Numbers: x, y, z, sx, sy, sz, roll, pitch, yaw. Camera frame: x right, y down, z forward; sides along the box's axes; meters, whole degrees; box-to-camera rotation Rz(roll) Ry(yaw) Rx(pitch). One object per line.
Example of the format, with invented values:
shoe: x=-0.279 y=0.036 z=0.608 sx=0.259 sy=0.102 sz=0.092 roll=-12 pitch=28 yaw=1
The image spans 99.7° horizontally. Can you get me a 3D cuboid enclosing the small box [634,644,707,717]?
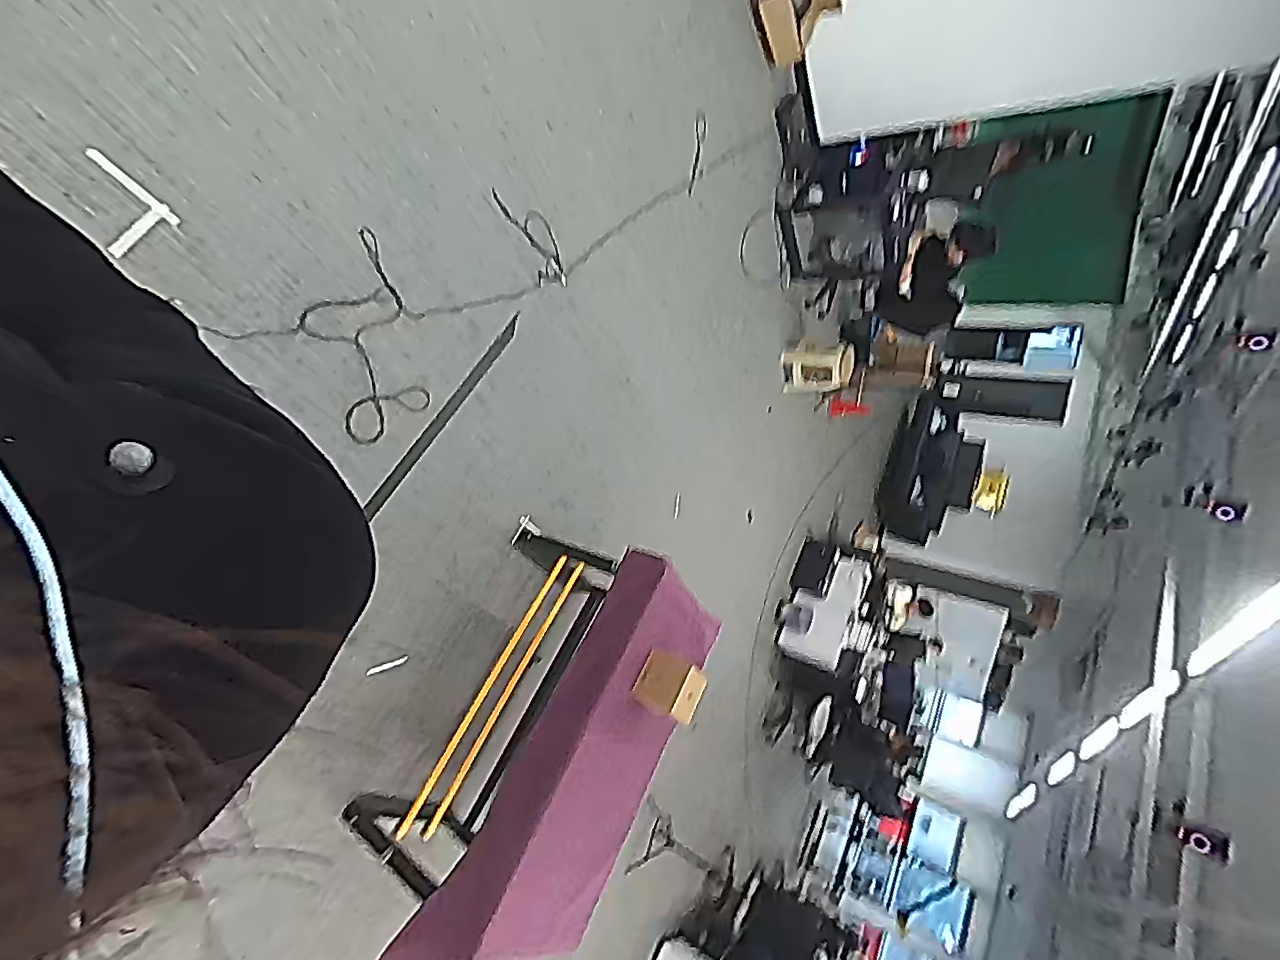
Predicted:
small box: x=0.105 y=0.694 z=1.889 sx=0.168 sy=0.176 sz=0.179 roll=-60 pitch=142 yaw=-23
